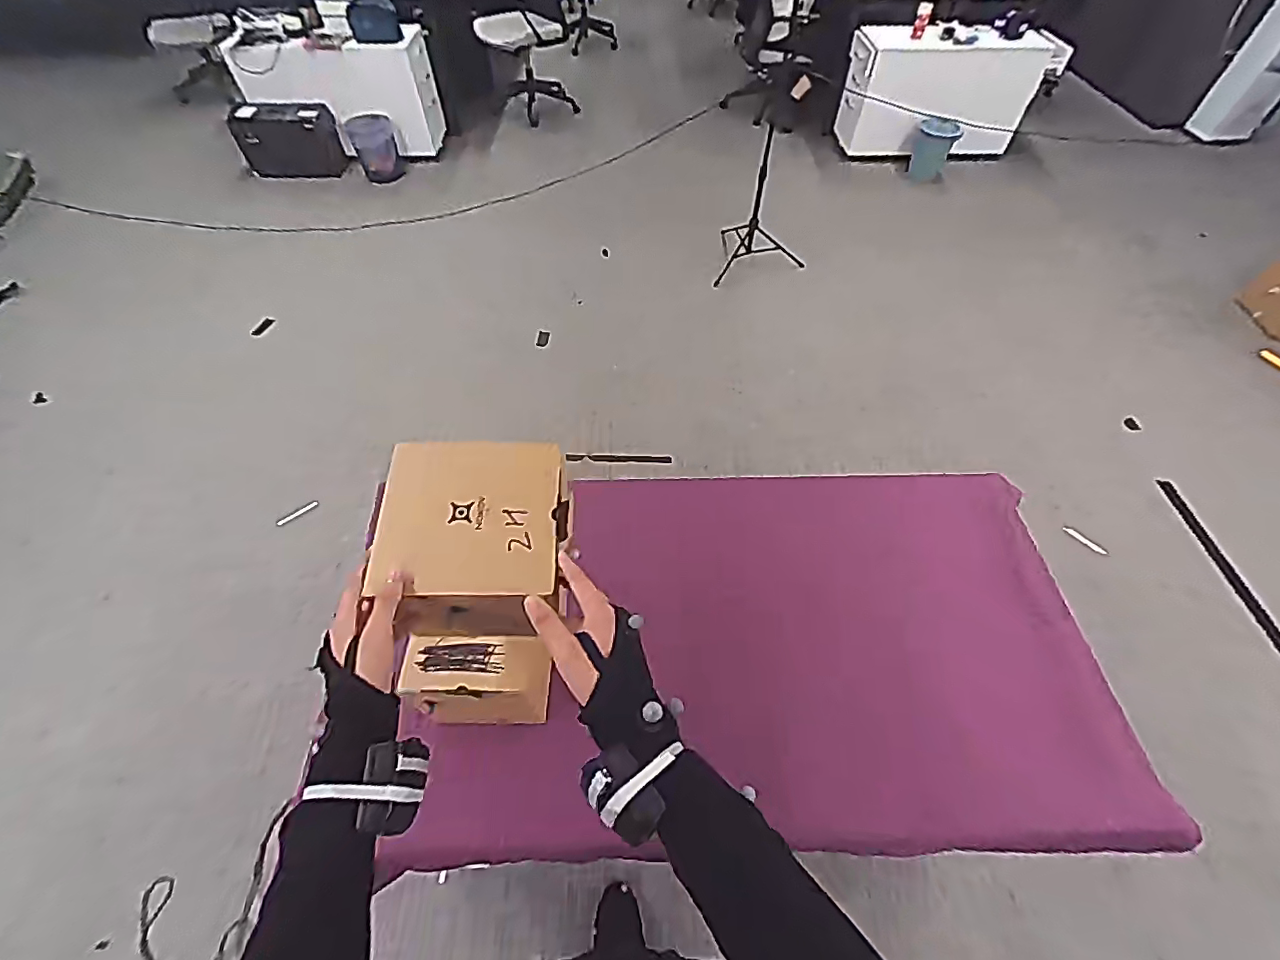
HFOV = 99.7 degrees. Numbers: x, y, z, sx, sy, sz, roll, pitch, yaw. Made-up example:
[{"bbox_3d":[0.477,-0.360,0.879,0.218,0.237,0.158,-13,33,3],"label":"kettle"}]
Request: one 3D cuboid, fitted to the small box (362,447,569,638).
[{"bbox_3d":[-0.175,0.078,0.607,0.179,0.176,0.168,1,61,-4],"label":"small box"}]
